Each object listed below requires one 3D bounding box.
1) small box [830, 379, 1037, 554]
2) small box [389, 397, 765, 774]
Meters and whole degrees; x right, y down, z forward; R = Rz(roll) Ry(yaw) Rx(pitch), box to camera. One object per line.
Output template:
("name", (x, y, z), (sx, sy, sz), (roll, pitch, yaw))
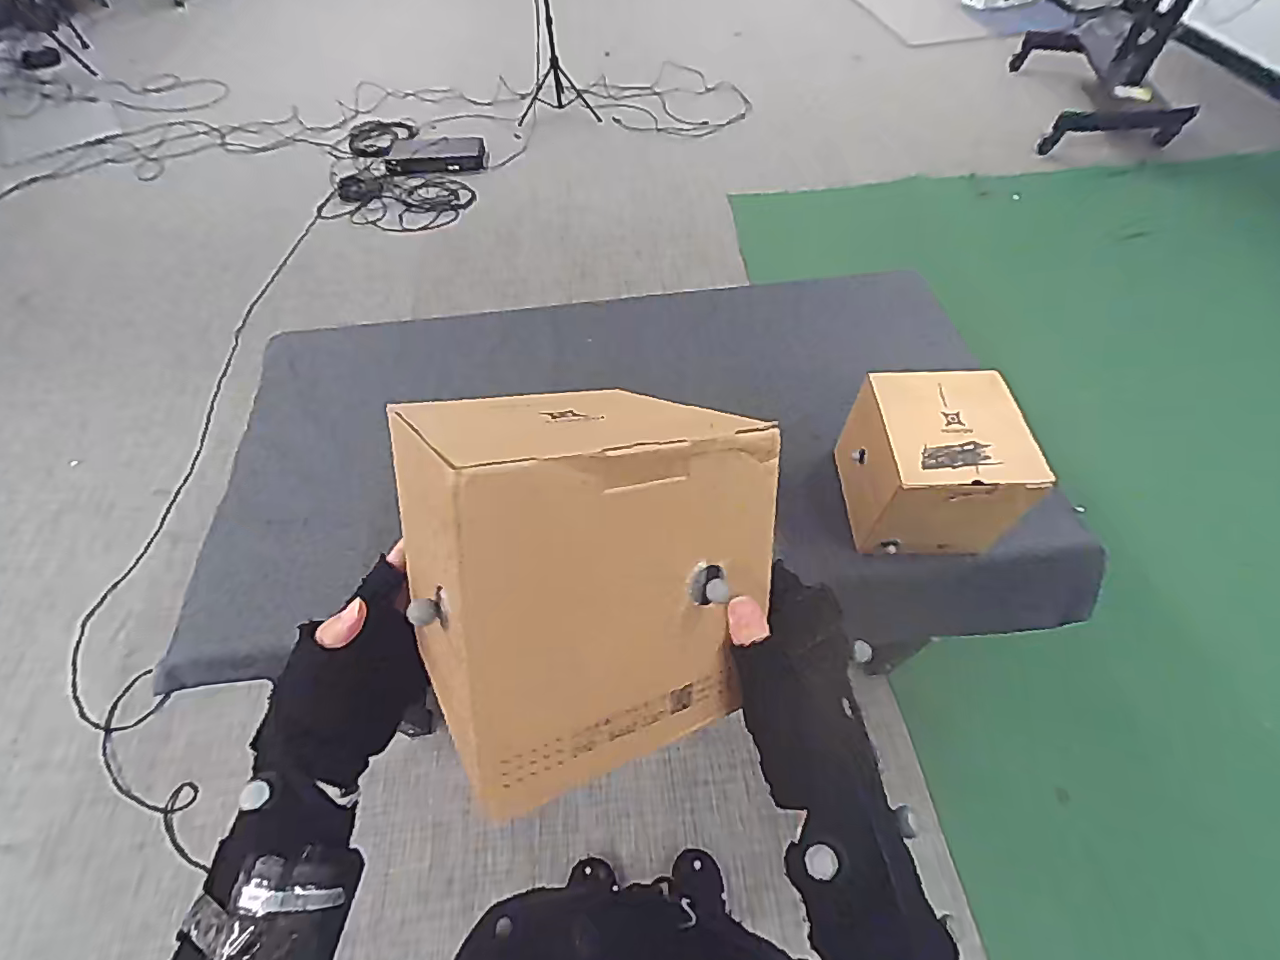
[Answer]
("small box", (0.366, -0.012, 0.715), (0.168, 0.176, 0.179), (0, 55, 2))
("small box", (-0.045, 0.046, 0.335), (0.168, 0.176, 0.179), (-9, 17, -32))
